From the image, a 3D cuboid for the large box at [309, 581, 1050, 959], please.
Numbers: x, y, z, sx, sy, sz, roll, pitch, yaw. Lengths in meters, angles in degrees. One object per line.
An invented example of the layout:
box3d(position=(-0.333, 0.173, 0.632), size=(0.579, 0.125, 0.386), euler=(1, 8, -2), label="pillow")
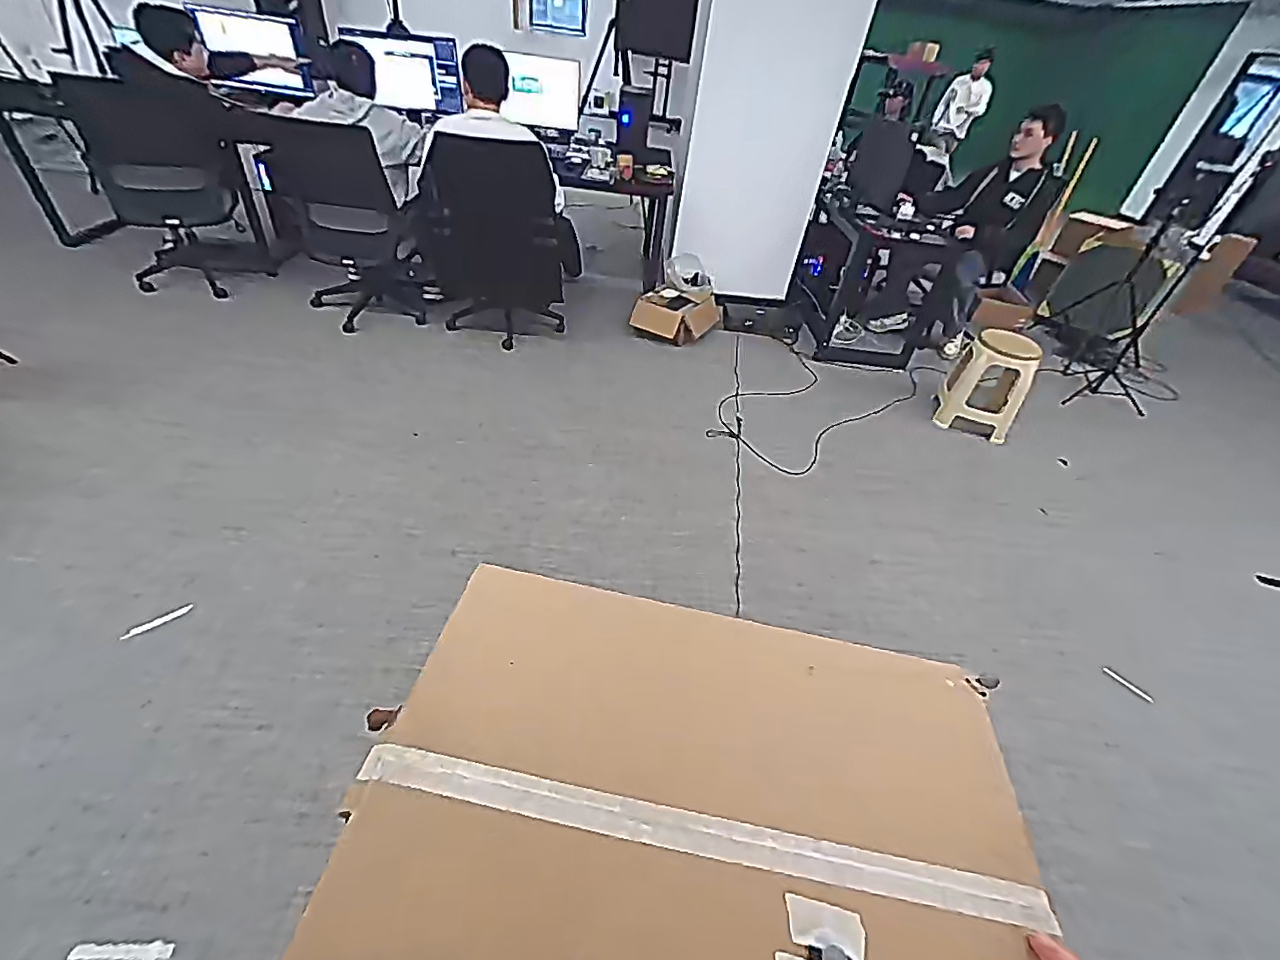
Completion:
box3d(position=(0.020, 0.327, 0.429), size=(0.408, 0.320, 0.320), euler=(12, 43, 2), label="large box")
